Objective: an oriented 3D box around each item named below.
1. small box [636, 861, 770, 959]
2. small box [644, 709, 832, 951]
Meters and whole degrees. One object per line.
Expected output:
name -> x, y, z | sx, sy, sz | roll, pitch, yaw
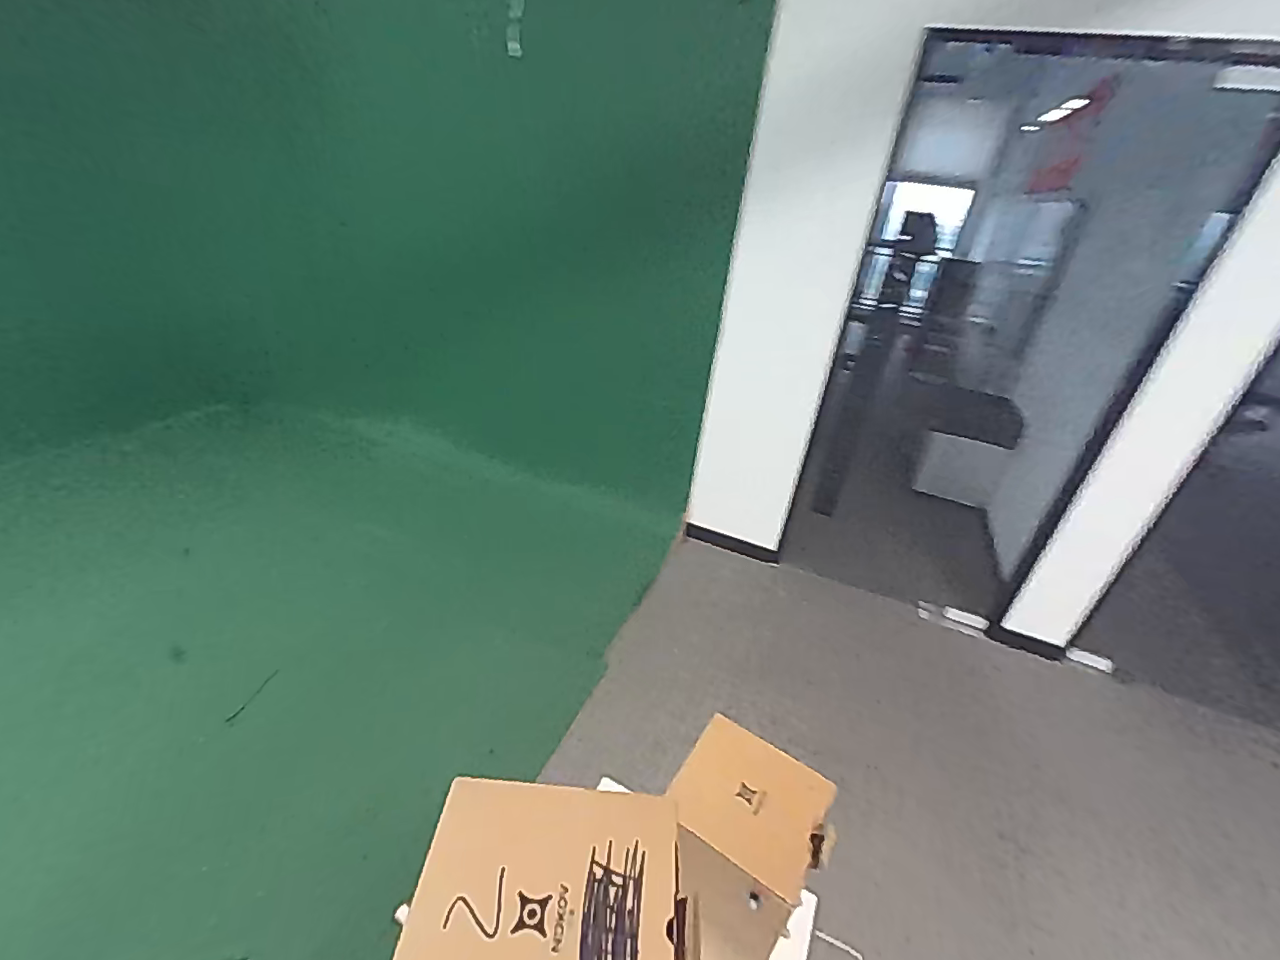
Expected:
small box -> 0.109, 0.592, 0.788 | 0.179, 0.176, 0.168 | 23, 34, 26
small box -> 0.121, 0.451, 0.706 | 0.179, 0.176, 0.168 | 24, 33, 25
